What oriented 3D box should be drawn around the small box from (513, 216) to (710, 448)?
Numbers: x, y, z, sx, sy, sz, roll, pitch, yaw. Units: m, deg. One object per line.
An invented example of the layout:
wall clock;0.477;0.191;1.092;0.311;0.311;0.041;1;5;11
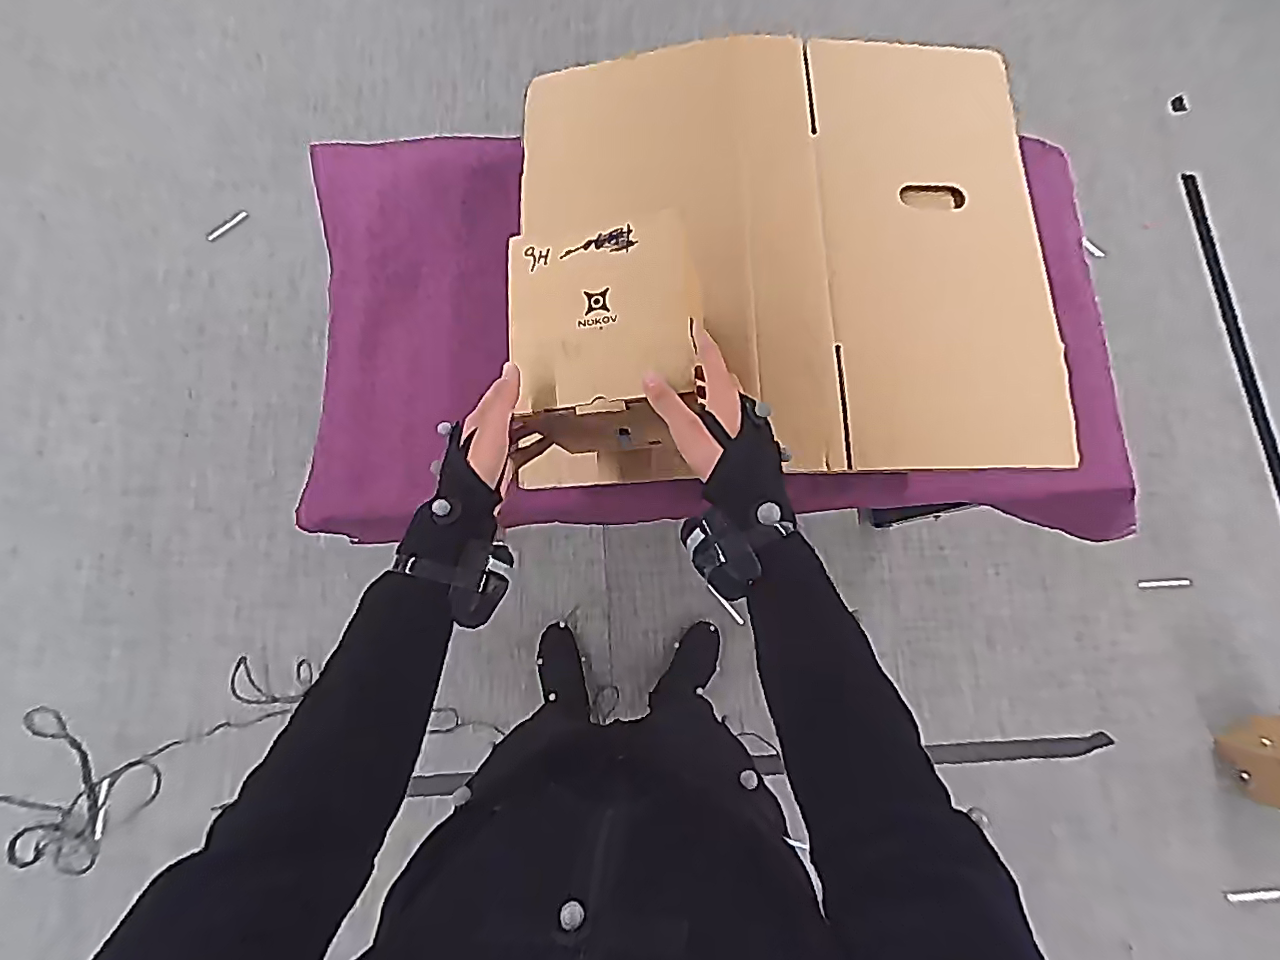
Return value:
small box;-0.020;-0.132;0.557;0.168;0.176;0.179;-4;81;11
